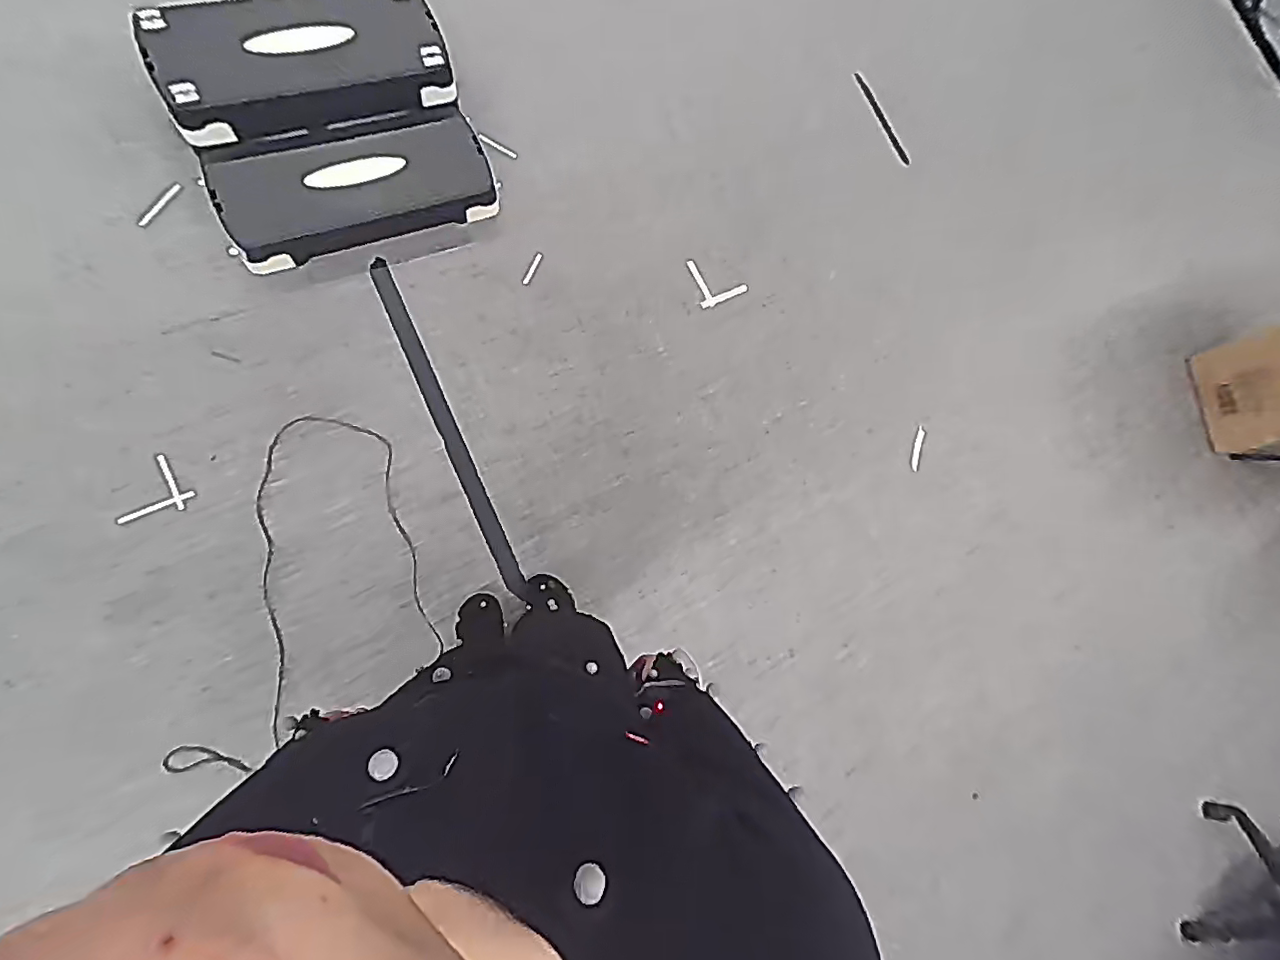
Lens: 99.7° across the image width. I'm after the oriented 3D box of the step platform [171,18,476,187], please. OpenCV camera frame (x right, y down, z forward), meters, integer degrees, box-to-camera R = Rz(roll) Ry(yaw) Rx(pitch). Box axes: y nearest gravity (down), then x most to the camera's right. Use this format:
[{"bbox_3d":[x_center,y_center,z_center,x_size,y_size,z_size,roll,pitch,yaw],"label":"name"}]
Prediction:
[{"bbox_3d":[-0.802,-1.009,1.431,0.684,0.204,0.286,-19,83,-18],"label":"step platform"}]
